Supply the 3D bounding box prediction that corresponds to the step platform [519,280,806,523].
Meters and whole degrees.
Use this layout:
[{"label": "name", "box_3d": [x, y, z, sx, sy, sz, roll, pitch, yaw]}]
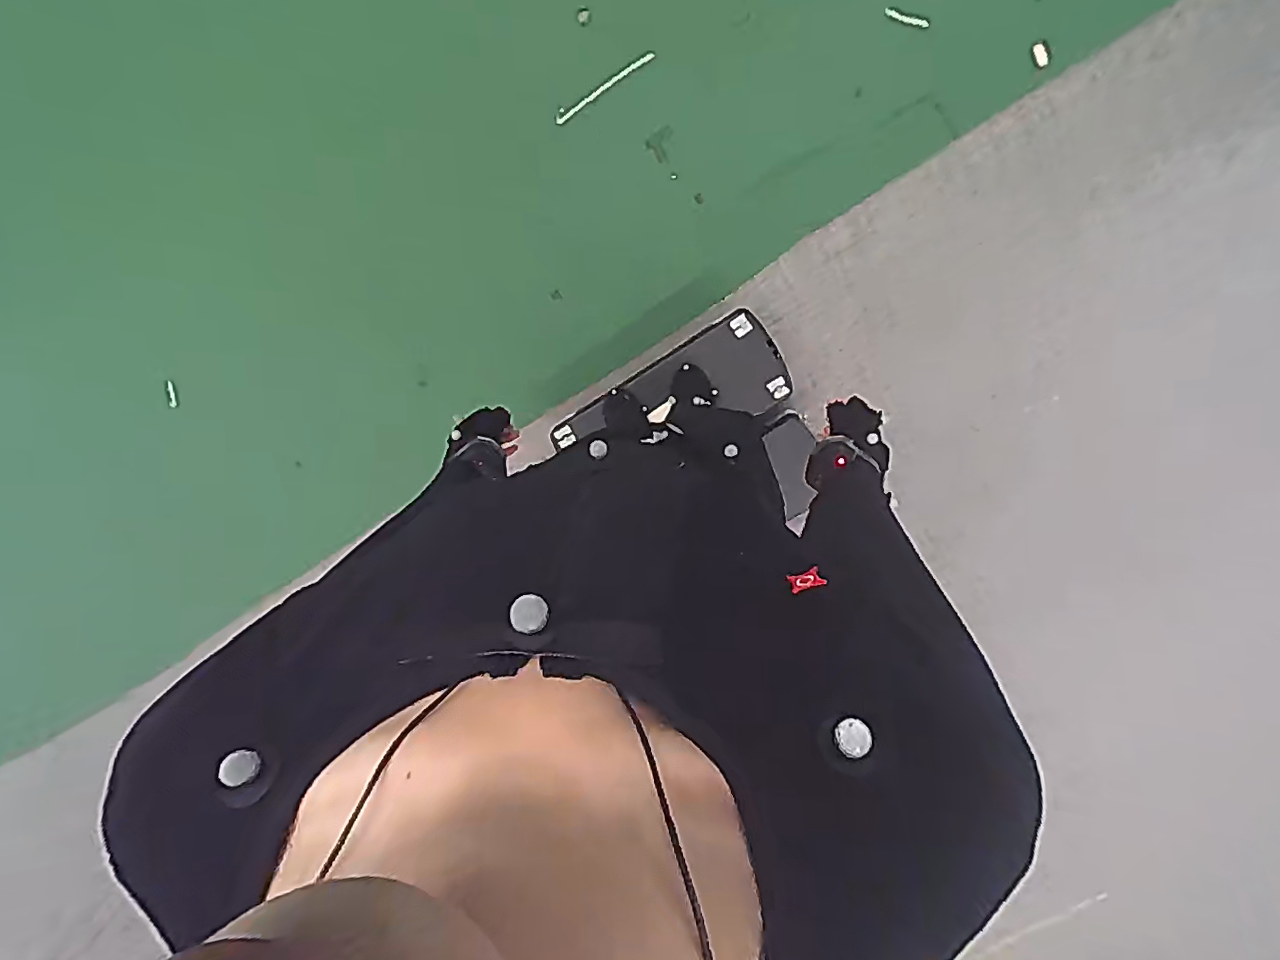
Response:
[{"label": "step platform", "box_3d": [0.047, -0.190, 1.348, 0.684, 0.204, 0.286, -32, 100, 8]}]
